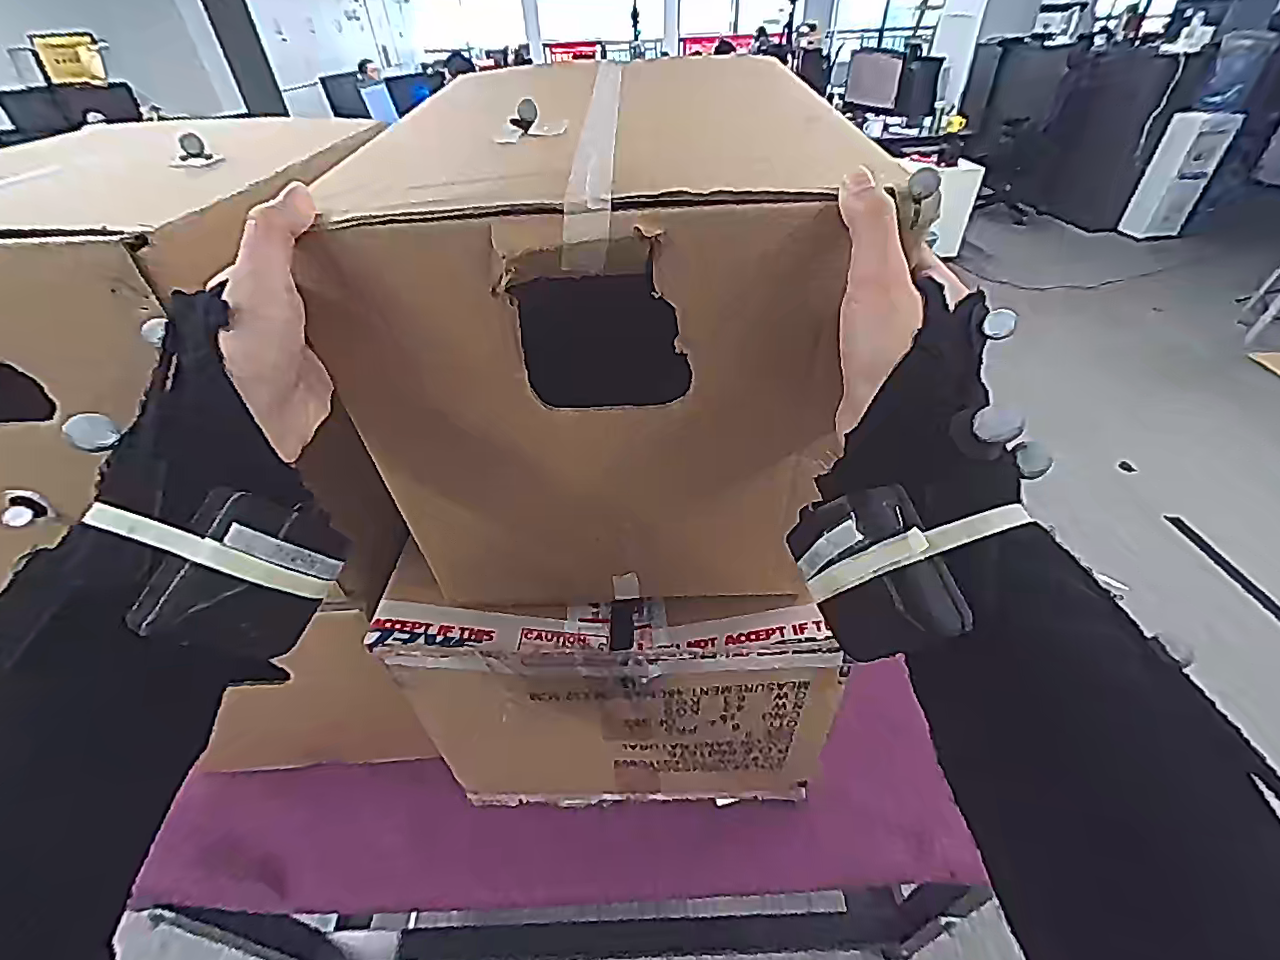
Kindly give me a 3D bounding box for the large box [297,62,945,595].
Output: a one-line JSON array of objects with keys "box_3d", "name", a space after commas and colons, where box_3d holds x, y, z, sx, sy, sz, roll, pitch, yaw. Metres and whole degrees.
[{"box_3d": [-0.010, -0.152, 0.493, 0.320, 0.320, 0.408, -3, 45, 2], "name": "large box"}]
